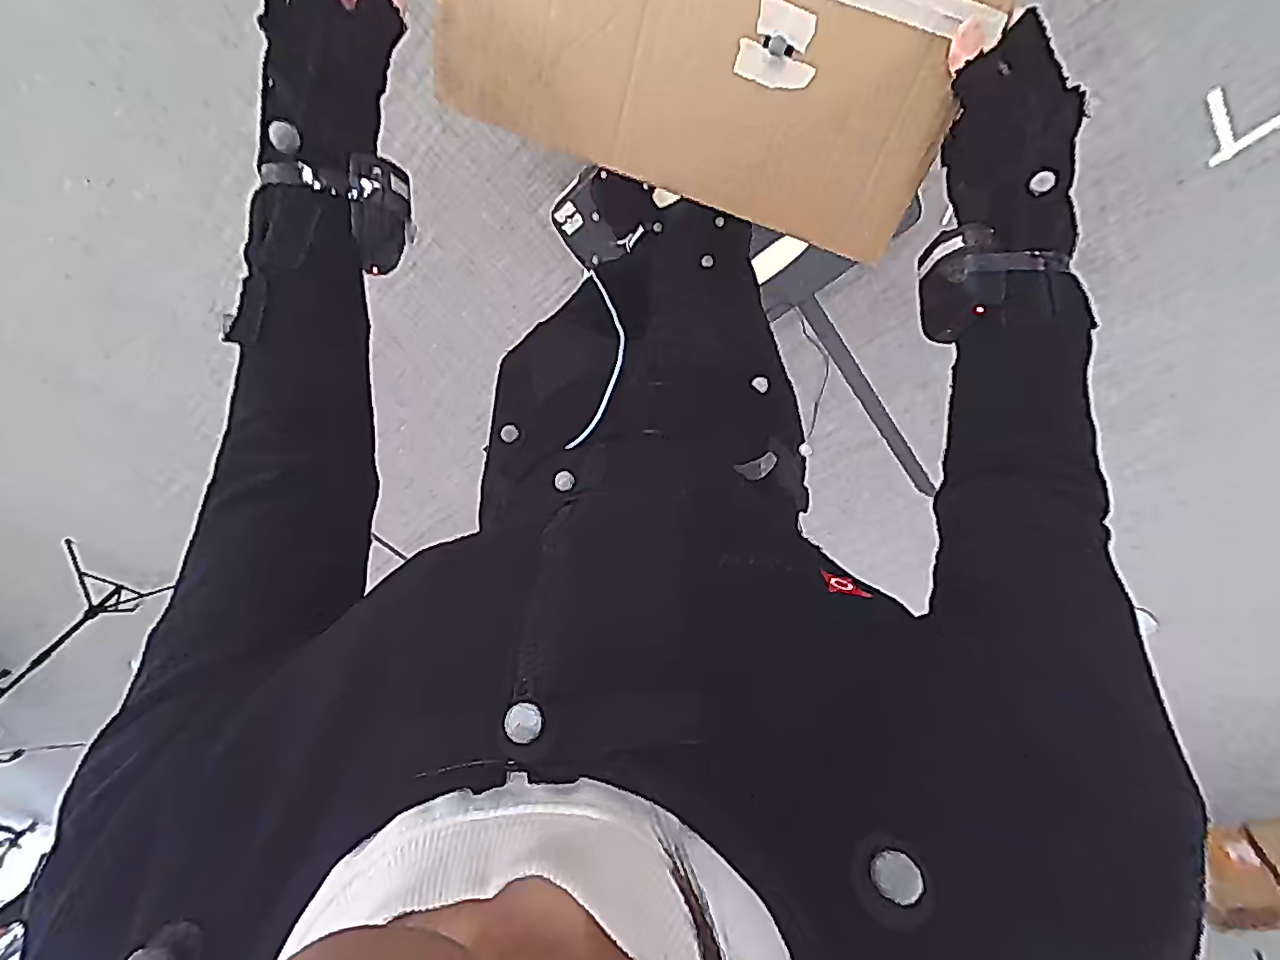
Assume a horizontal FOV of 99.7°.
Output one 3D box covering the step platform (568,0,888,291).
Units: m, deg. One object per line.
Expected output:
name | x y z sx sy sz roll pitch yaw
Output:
step platform | 0.158 -0.732 1.168 0.684 0.204 0.286 -33 118 28
